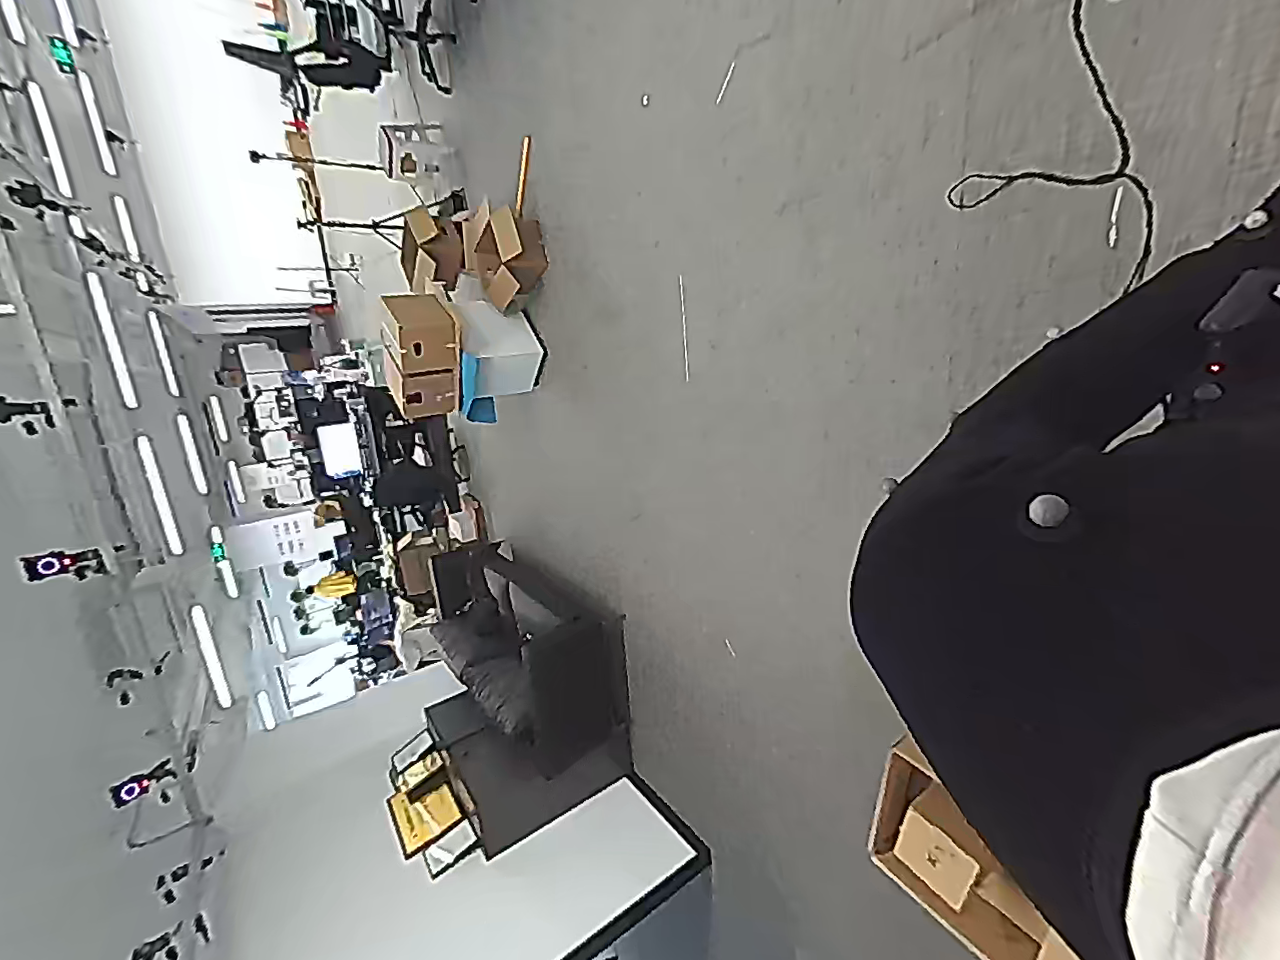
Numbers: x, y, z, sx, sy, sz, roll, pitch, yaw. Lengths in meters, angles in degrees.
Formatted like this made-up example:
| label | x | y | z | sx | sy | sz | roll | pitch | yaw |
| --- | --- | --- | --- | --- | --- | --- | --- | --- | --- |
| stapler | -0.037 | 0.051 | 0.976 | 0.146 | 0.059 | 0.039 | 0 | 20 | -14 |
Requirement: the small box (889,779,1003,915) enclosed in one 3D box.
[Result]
| label | x | y | z | sx | sy | sz | roll | pitch | yaw |
| --- | --- | --- | --- | --- | --- | --- | --- | --- | --- |
| small box | 0.739 | 0.878 | 1.307 | 0.168 | 0.176 | 0.179 | 30 | 125 | 46 |
